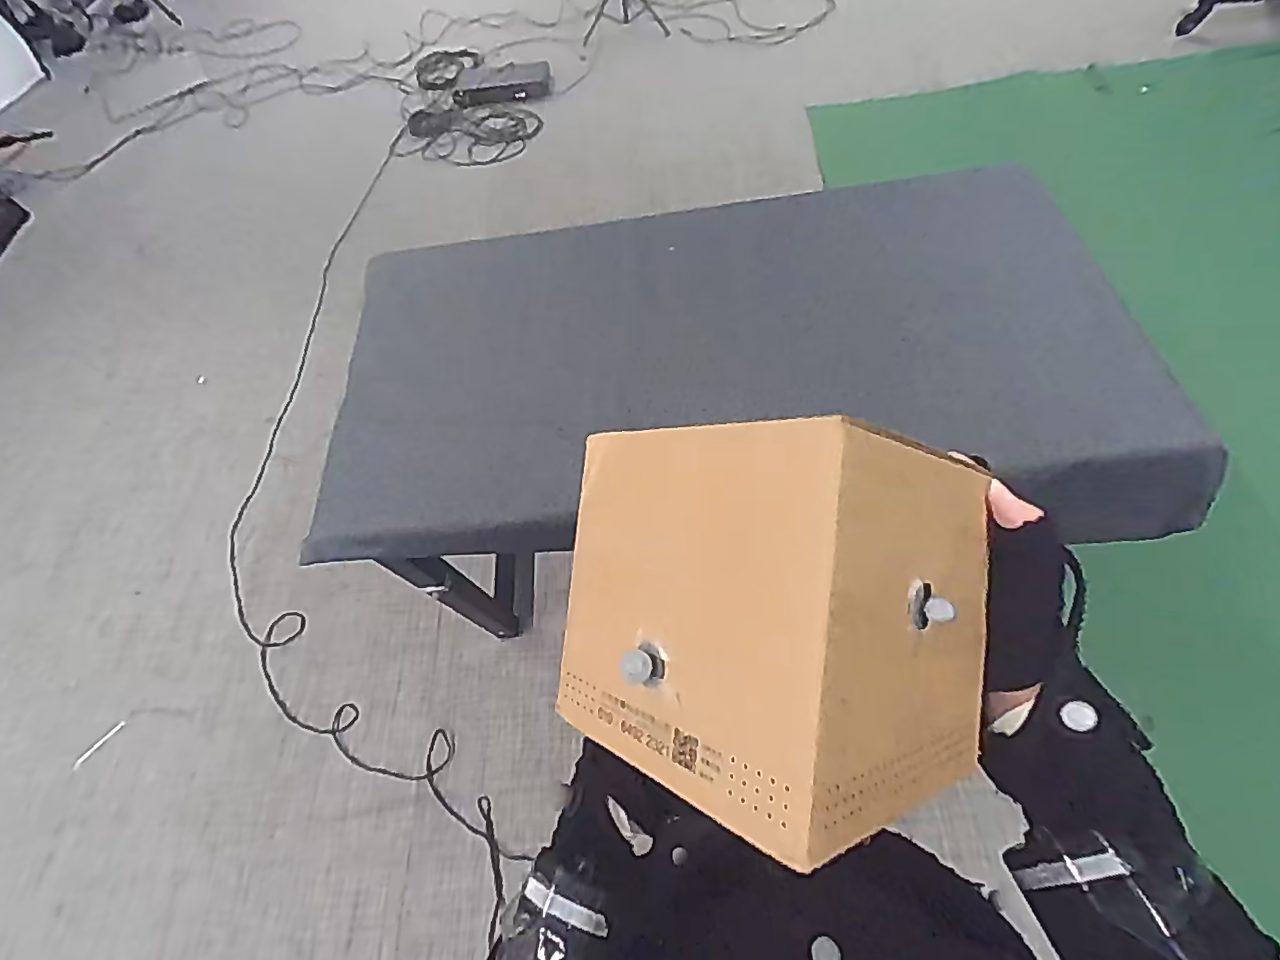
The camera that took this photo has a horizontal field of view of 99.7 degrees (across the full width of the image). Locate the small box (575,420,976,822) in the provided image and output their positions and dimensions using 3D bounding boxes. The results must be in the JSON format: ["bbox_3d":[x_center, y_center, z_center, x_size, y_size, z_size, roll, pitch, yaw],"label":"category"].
[{"bbox_3d":[0.078,0.066,0.329,0.168,0.179,0.176,0,84,50],"label":"small box"}]
